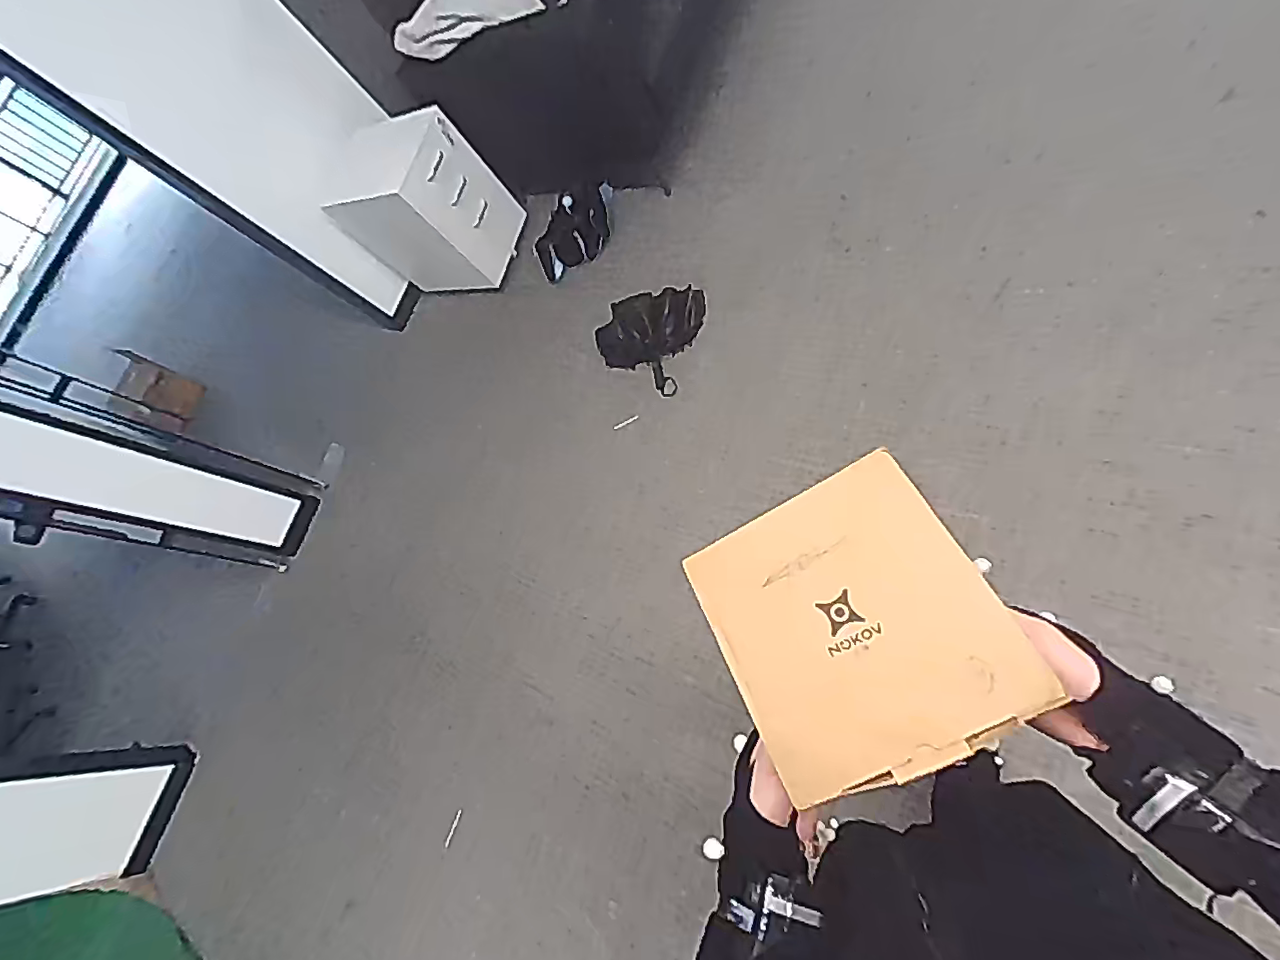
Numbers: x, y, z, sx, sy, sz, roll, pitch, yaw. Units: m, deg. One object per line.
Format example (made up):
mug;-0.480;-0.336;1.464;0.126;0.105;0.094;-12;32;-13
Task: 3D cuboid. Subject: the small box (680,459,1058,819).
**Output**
small box;0.162;0.119;0.412;0.168;0.176;0.179;-33;59;12
